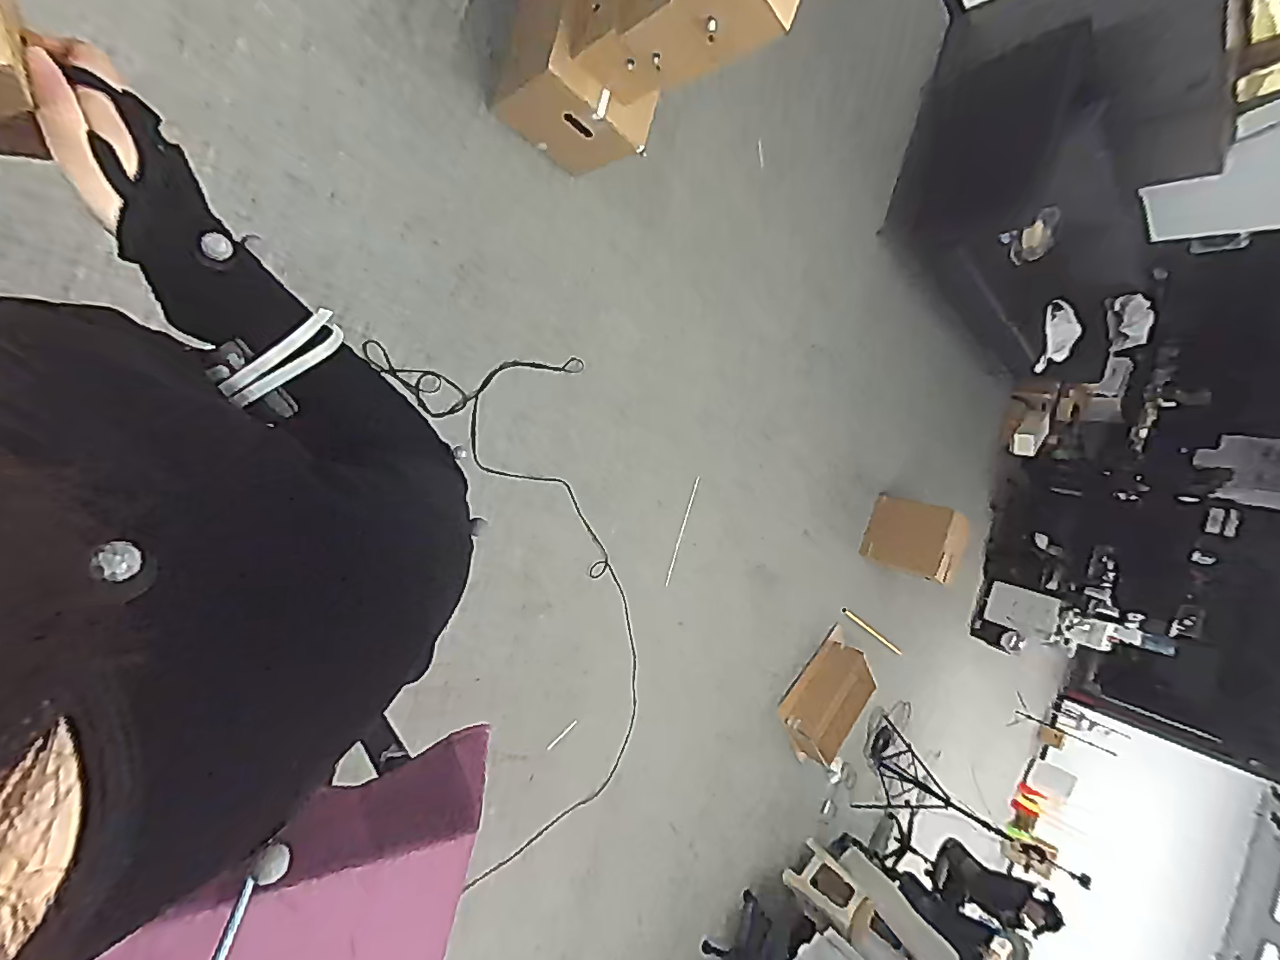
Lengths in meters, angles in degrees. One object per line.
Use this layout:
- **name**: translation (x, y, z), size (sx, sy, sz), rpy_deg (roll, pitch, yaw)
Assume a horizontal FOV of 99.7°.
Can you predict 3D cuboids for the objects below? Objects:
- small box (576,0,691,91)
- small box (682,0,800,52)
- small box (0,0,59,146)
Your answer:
- **small box**: translation (-0.015, -1.037, 1.240), size (0.179, 0.176, 0.168), rpy_deg (14, 92, -42)
- **small box**: translation (0.197, -0.957, 1.001), size (0.168, 0.176, 0.179), rpy_deg (18, 91, -42)
- **small box**: translation (-0.400, -0.267, 0.236), size (0.179, 0.176, 0.168), rpy_deg (-14, 110, -38)
